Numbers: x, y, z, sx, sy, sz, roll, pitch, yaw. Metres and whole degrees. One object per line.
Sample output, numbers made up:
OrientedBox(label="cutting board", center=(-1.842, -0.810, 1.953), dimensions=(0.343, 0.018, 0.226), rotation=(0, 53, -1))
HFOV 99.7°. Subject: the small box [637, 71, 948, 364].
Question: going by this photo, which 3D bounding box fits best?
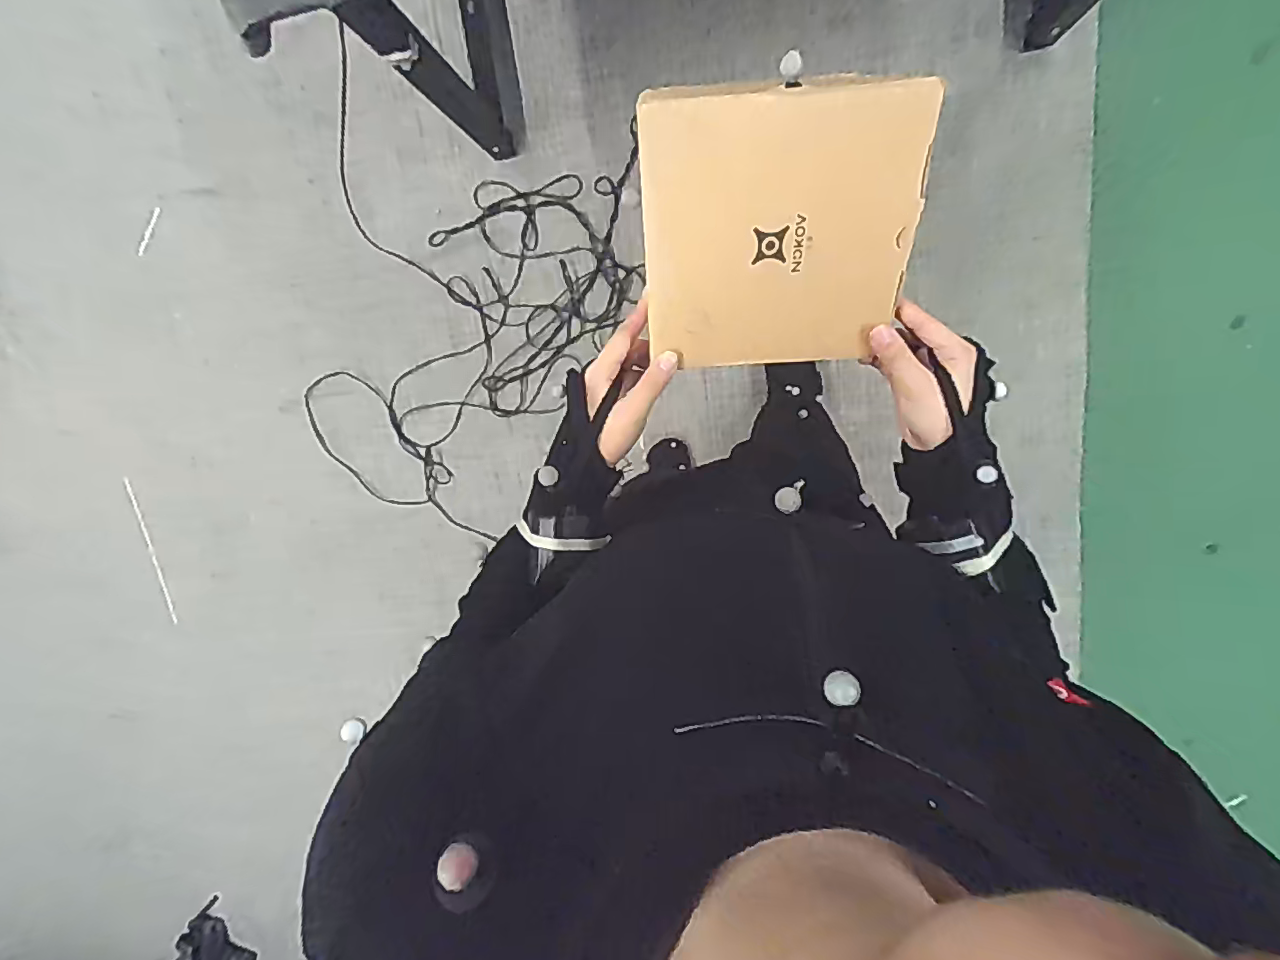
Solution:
OrientedBox(label="small box", center=(0.091, -0.202, 0.414), dimensions=(0.179, 0.176, 0.168), rotation=(-4, 126, 2))
